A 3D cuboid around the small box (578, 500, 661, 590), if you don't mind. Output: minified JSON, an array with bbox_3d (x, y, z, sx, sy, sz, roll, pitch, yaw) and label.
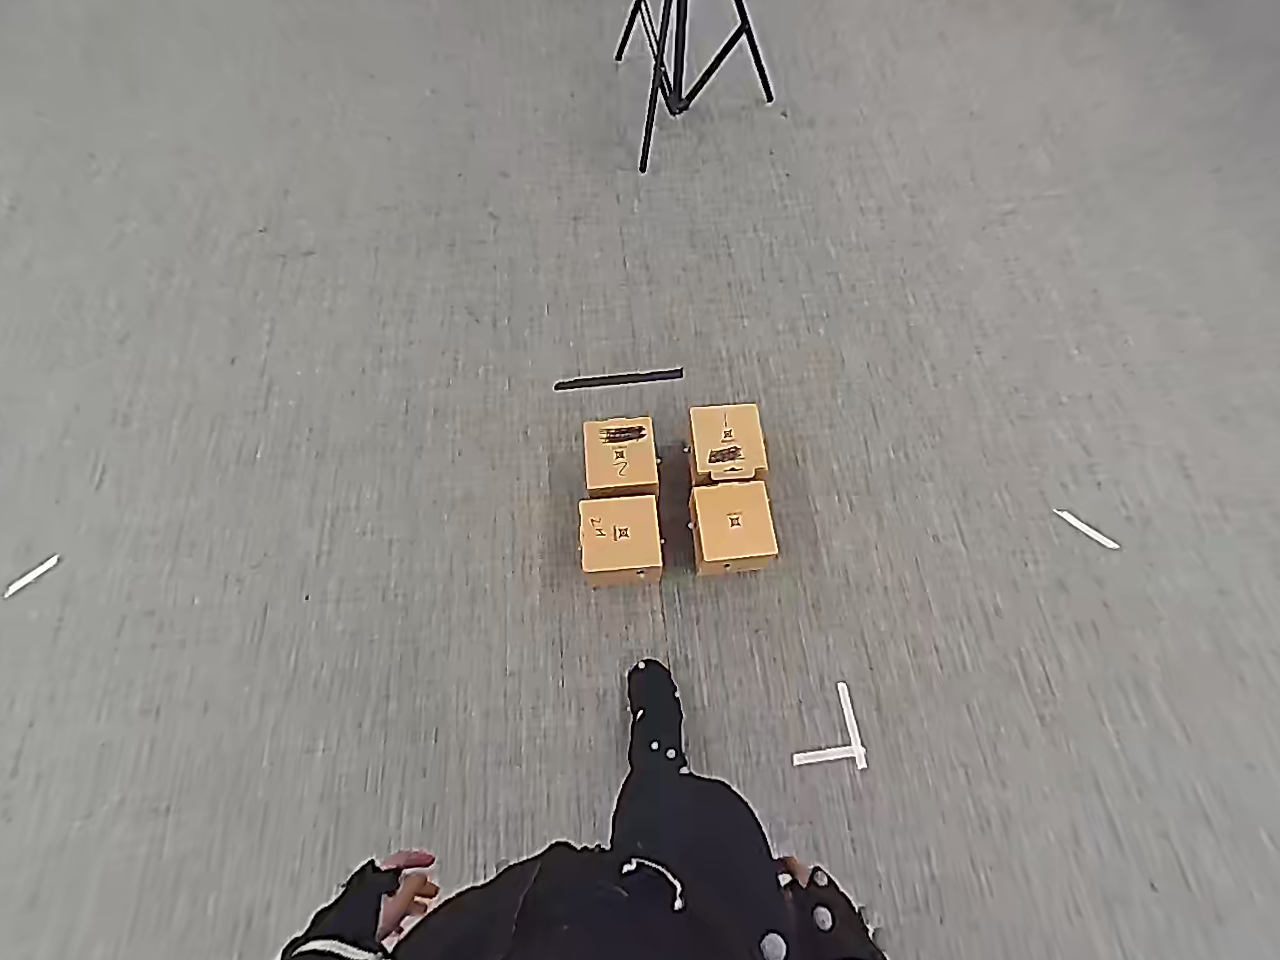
[{"bbox_3d":[-0.049,0.155,1.254,0.179,0.176,0.168,-5,68,-2],"label":"small box"}]
